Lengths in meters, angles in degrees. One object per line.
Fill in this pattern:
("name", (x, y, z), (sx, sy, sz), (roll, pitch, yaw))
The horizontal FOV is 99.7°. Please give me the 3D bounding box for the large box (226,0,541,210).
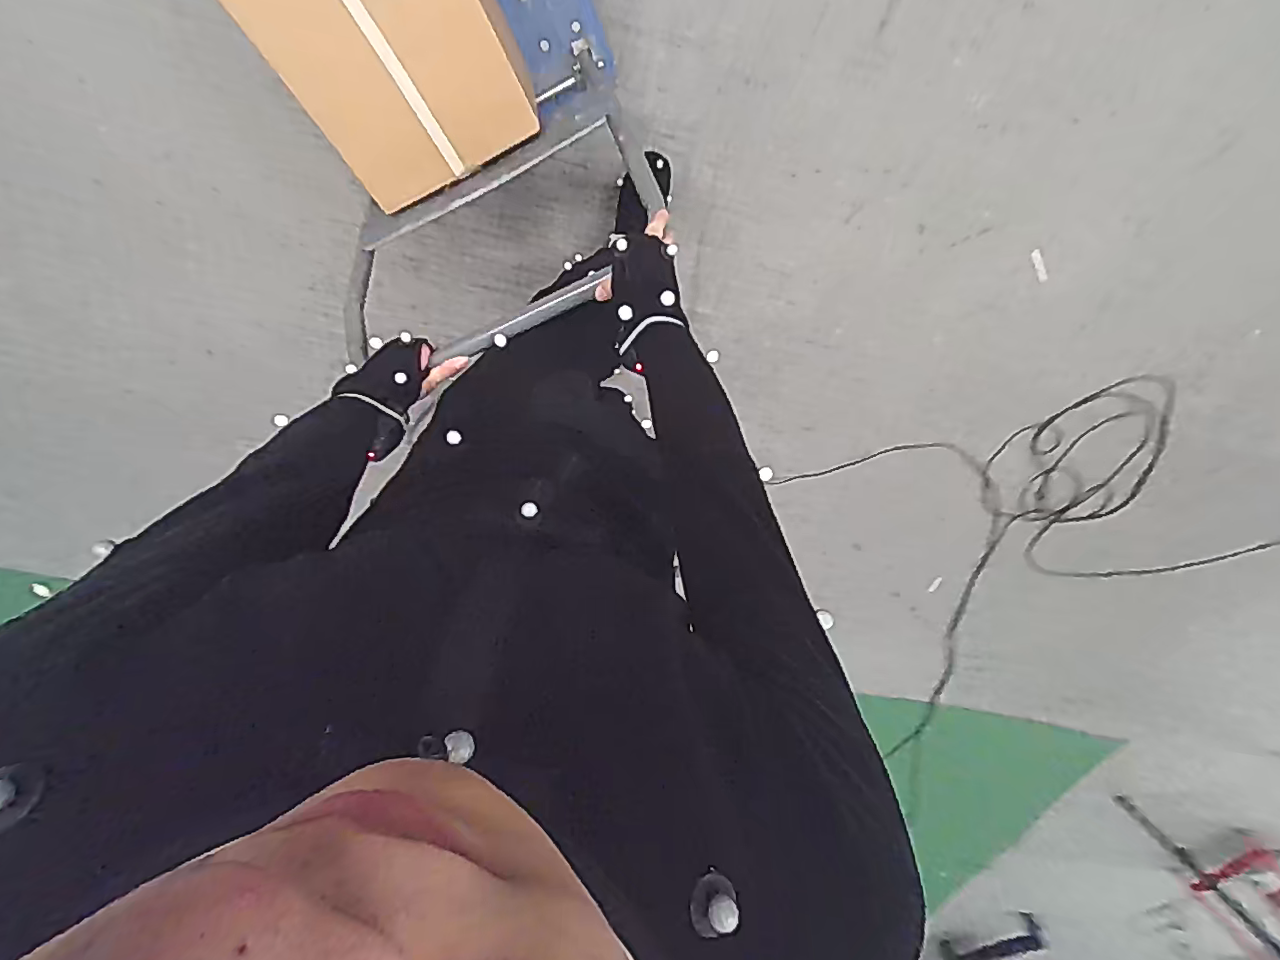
("large box", (-0.398, -0.747, 0.876), (0.320, 0.320, 0.408), (-23, 138, 10))
